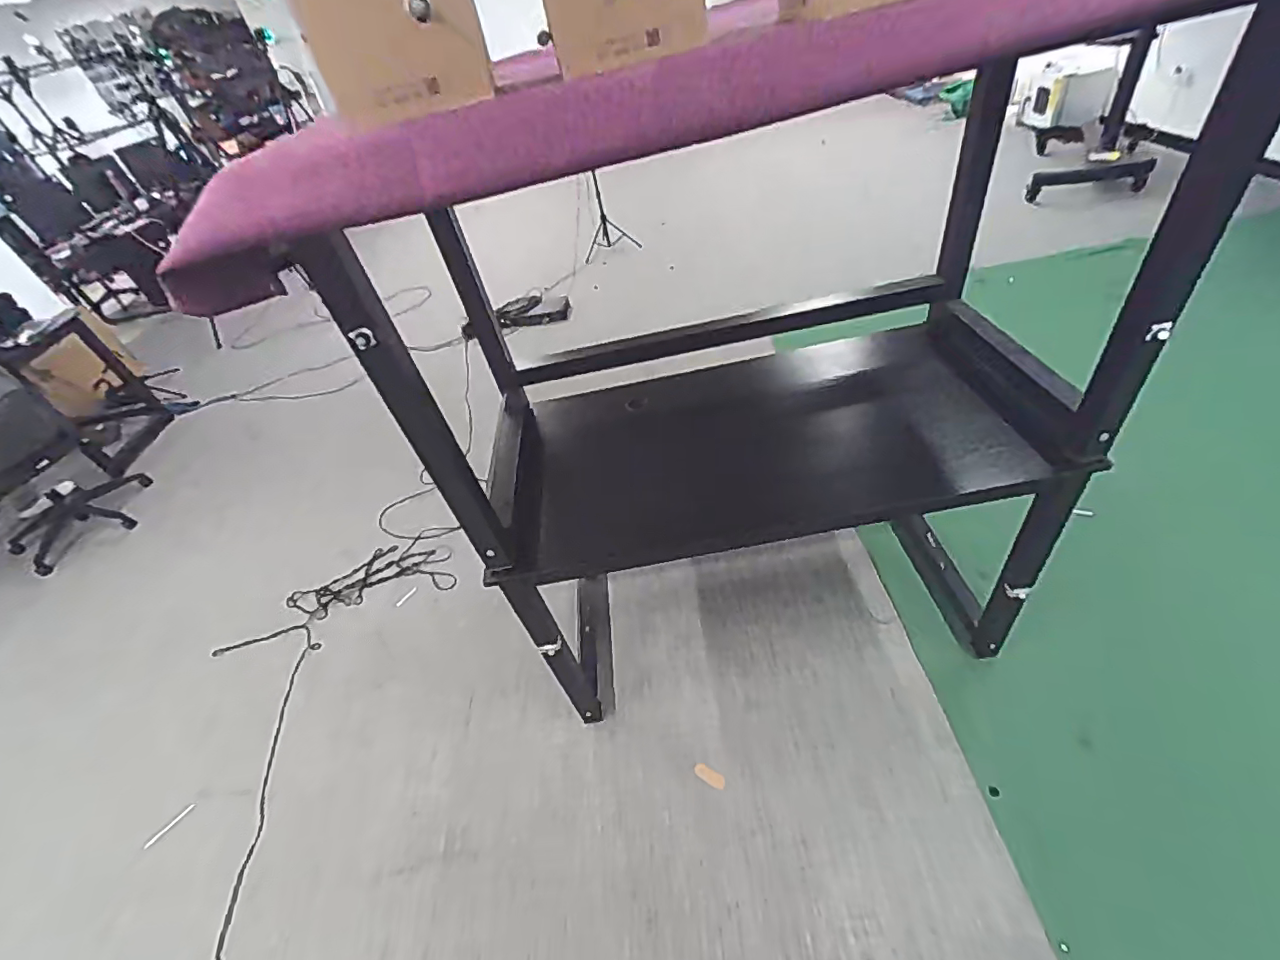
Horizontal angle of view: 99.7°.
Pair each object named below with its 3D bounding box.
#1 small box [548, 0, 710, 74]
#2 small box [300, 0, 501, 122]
[{"bbox_3d":[-0.025,-0.569,0.595,0.168,0.176,0.179,-13,42,0],"label":"small box"},{"bbox_3d":[-0.260,-0.517,0.601,0.168,0.176,0.179,-13,41,-2],"label":"small box"}]
